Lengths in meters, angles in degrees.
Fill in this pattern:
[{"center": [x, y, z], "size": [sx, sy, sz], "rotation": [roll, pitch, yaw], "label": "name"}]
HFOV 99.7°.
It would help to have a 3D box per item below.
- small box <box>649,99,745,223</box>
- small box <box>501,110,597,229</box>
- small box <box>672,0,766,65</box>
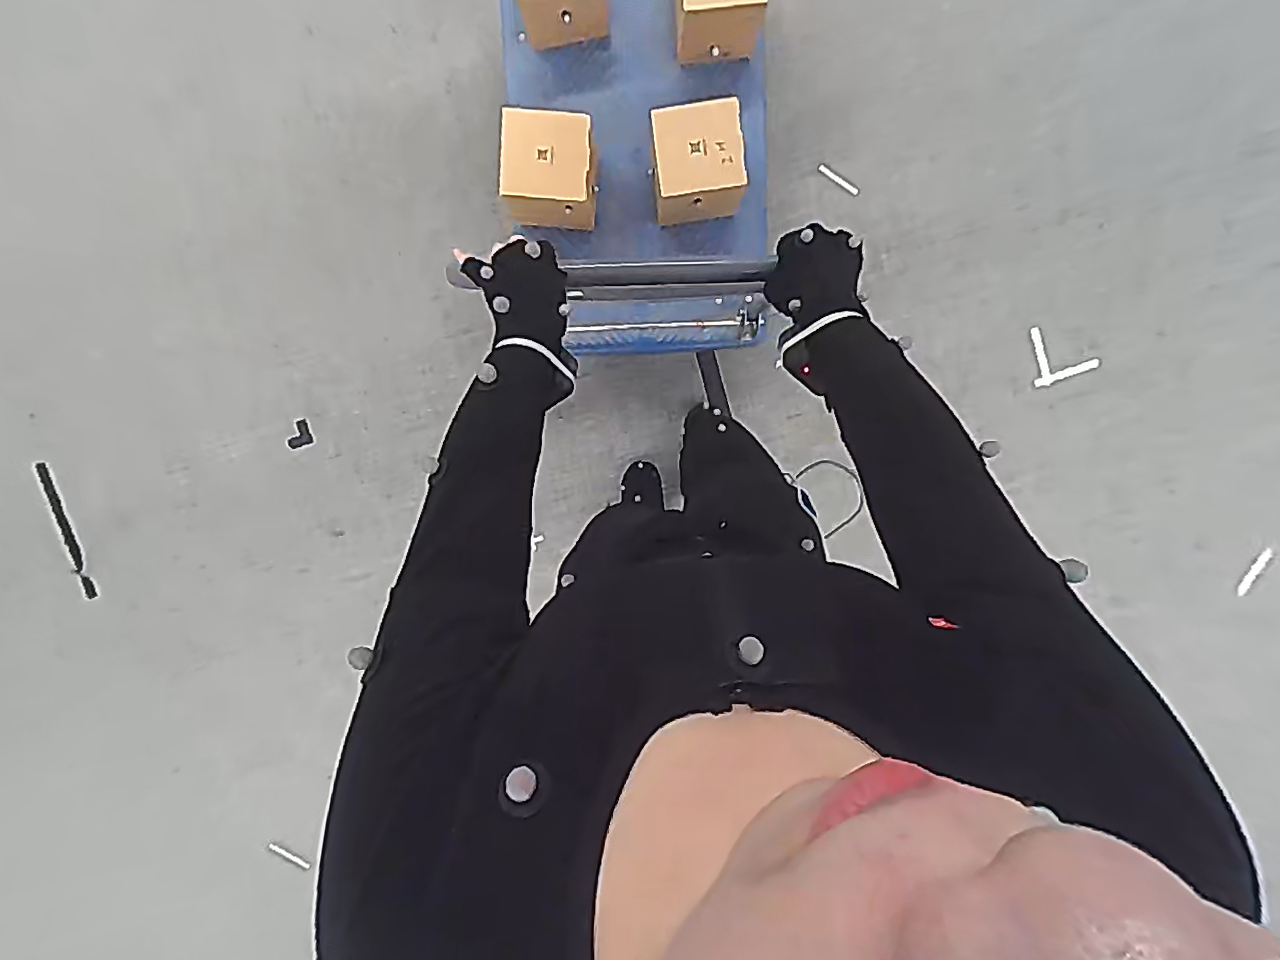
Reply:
[{"center": [0.116, -0.666, 1.151], "size": [0.179, 0.176, 0.168], "rotation": [-8, 97, 1], "label": "small box"}, {"center": [-0.188, -0.652, 1.153], "size": [0.179, 0.176, 0.168], "rotation": [3, 96, -2], "label": "small box"}, {"center": [0.155, -1.001, 1.108], "size": [0.168, 0.176, 0.179], "rotation": [-5, 98, 1], "label": "small box"}]
